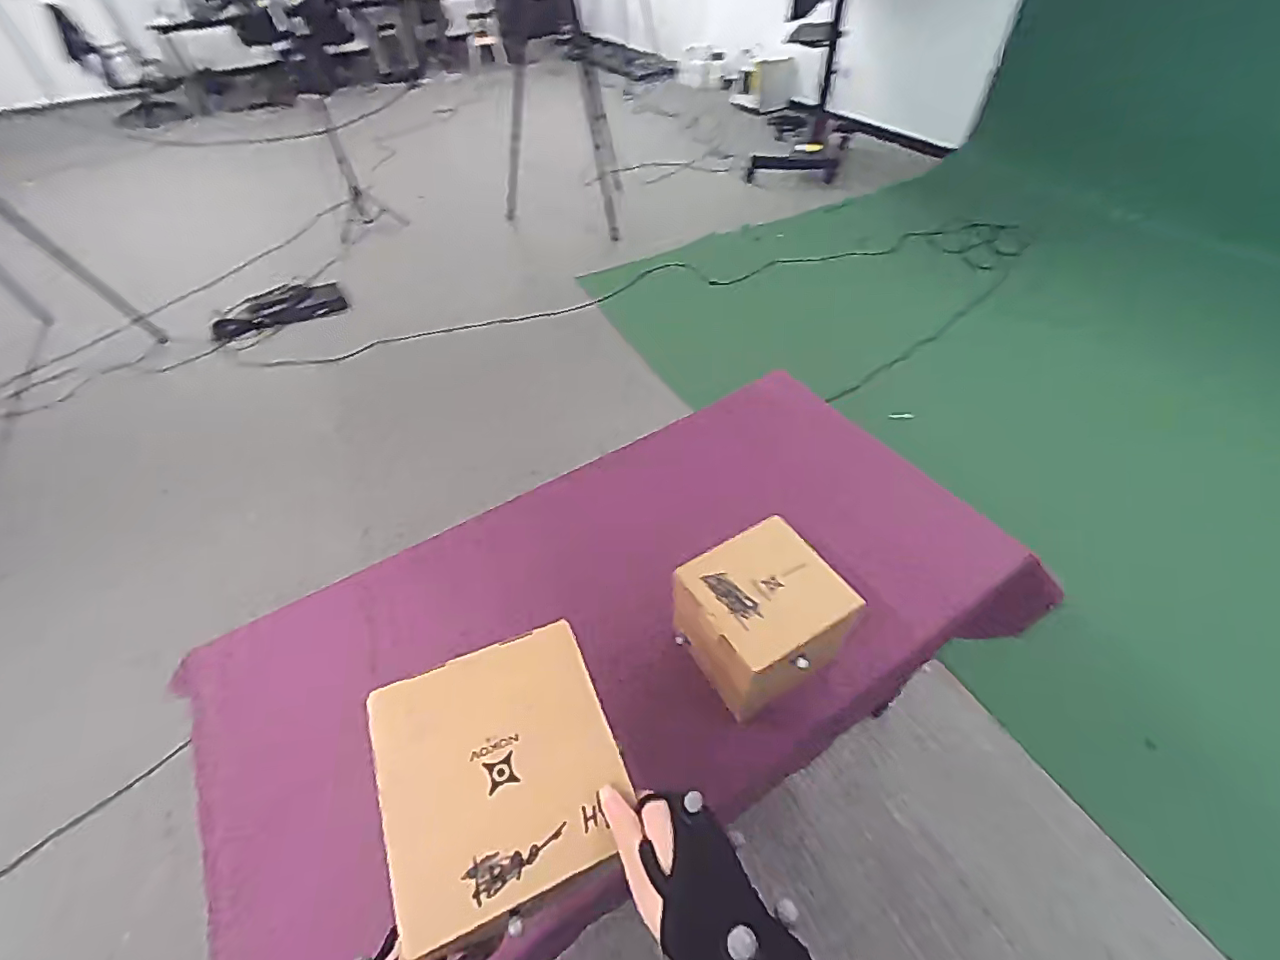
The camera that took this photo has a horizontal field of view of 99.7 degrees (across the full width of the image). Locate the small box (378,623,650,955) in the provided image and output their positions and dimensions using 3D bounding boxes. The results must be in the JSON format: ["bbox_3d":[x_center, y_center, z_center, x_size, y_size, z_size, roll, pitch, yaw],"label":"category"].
[{"bbox_3d":[-0.104,0.257,0.459,0.168,0.176,0.179,-17,54,-16],"label":"small box"}]

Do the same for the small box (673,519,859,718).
[{"bbox_3d":[0.162,0.192,0.742,0.179,0.176,0.168,-25,51,-19],"label":"small box"}]
